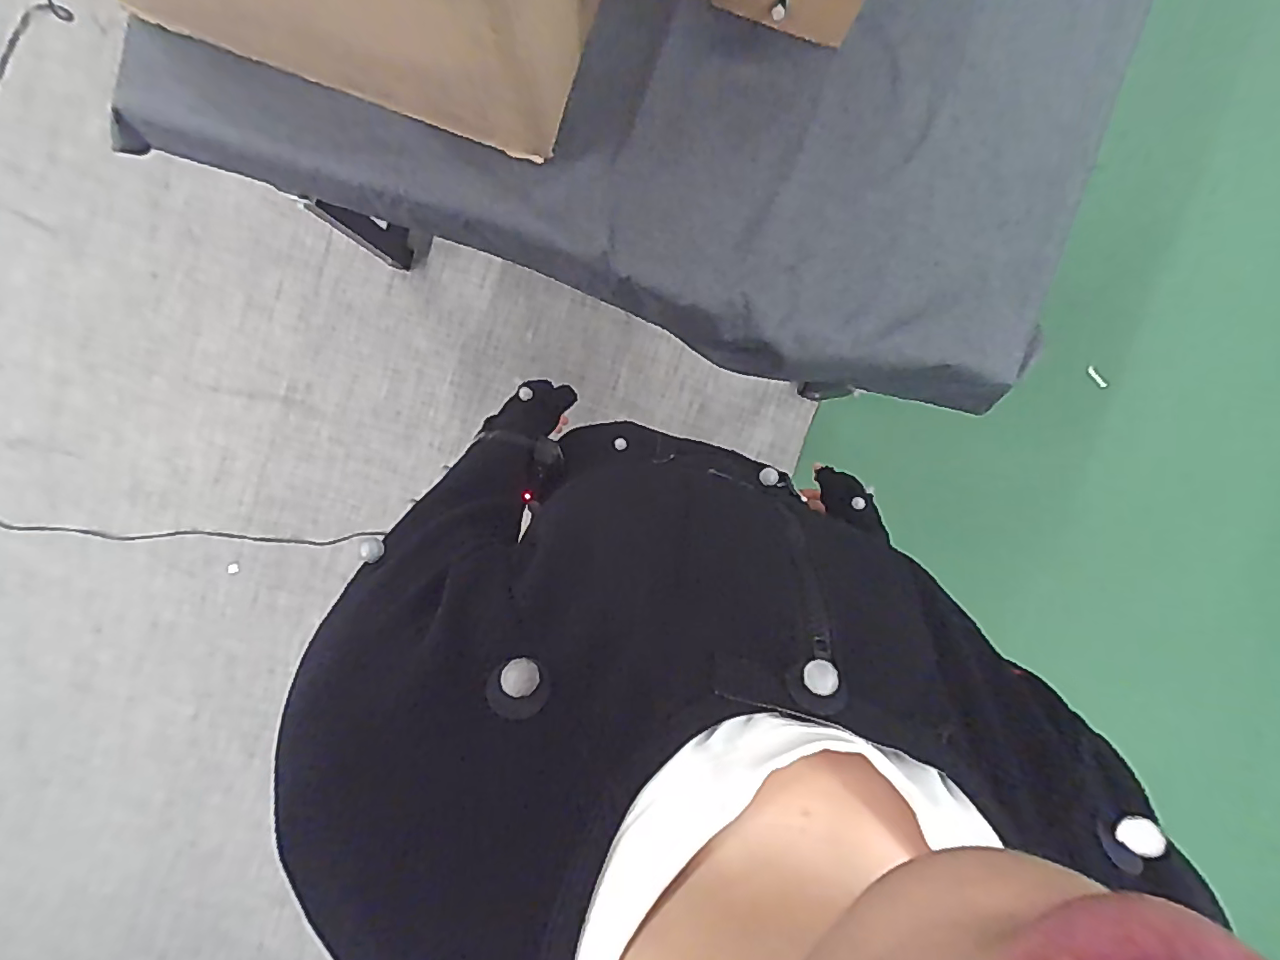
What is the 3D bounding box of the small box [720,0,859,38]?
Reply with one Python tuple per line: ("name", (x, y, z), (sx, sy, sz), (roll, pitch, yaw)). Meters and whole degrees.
("small box", (0.197, -0.646, 0.597), (0.179, 0.176, 0.168), (18, 95, -4))
